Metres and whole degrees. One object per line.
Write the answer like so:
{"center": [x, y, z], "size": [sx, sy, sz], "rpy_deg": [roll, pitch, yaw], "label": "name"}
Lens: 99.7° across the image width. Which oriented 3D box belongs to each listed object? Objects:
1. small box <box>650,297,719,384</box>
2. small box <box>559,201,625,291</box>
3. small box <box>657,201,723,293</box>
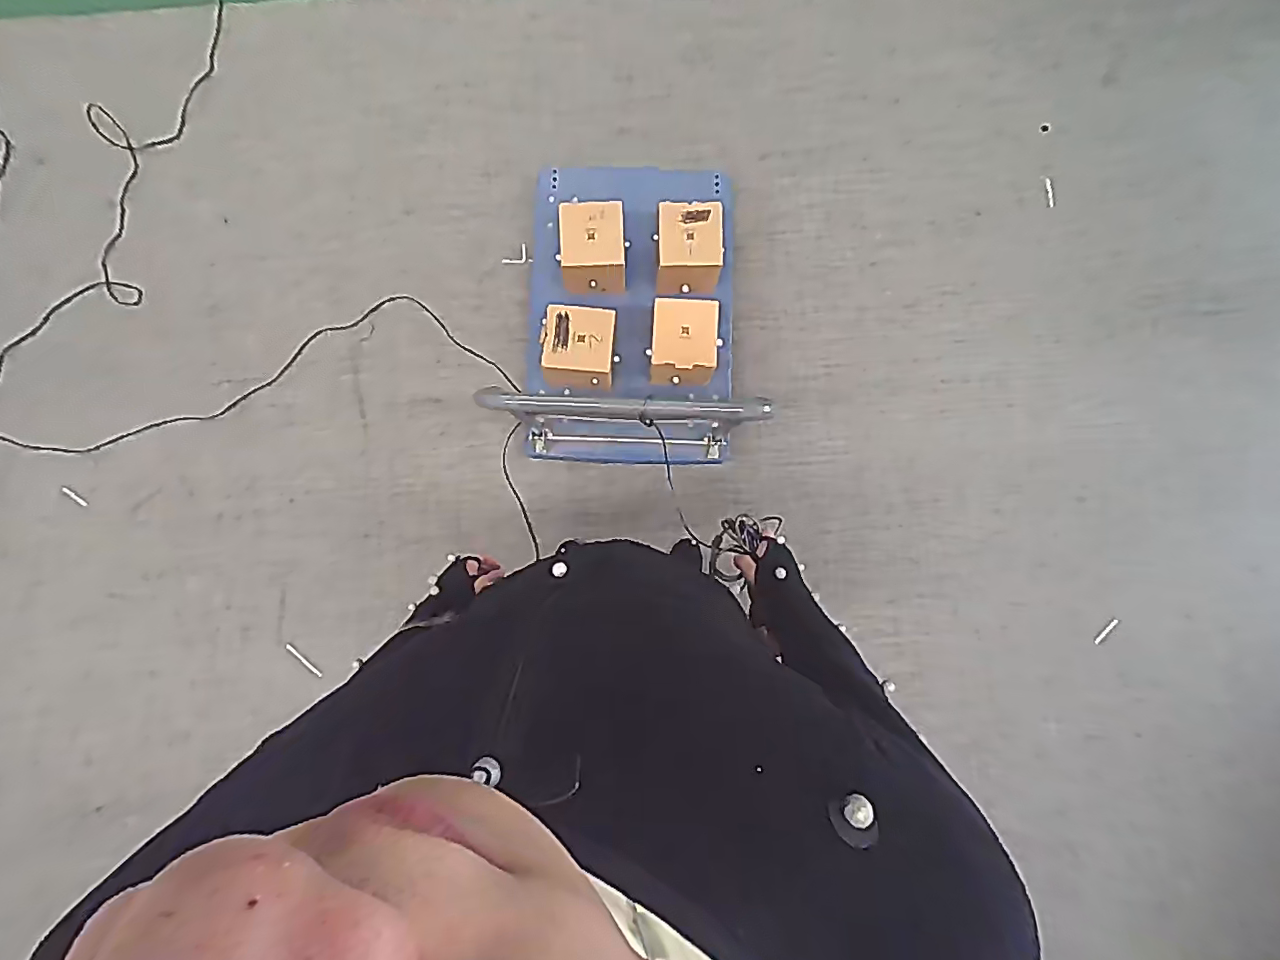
{"center": [0.115, -0.368, 1.447], "size": [0.168, 0.176, 0.179], "rpy_deg": [3, 85, 0], "label": "small box"}
{"center": [-0.126, -0.627, 1.470], "size": [0.168, 0.176, 0.179], "rpy_deg": [-2, 84, -1], "label": "small box"}
{"center": [0.131, -0.629, 1.471], "size": [0.168, 0.176, 0.179], "rpy_deg": [0, 85, 0], "label": "small box"}
